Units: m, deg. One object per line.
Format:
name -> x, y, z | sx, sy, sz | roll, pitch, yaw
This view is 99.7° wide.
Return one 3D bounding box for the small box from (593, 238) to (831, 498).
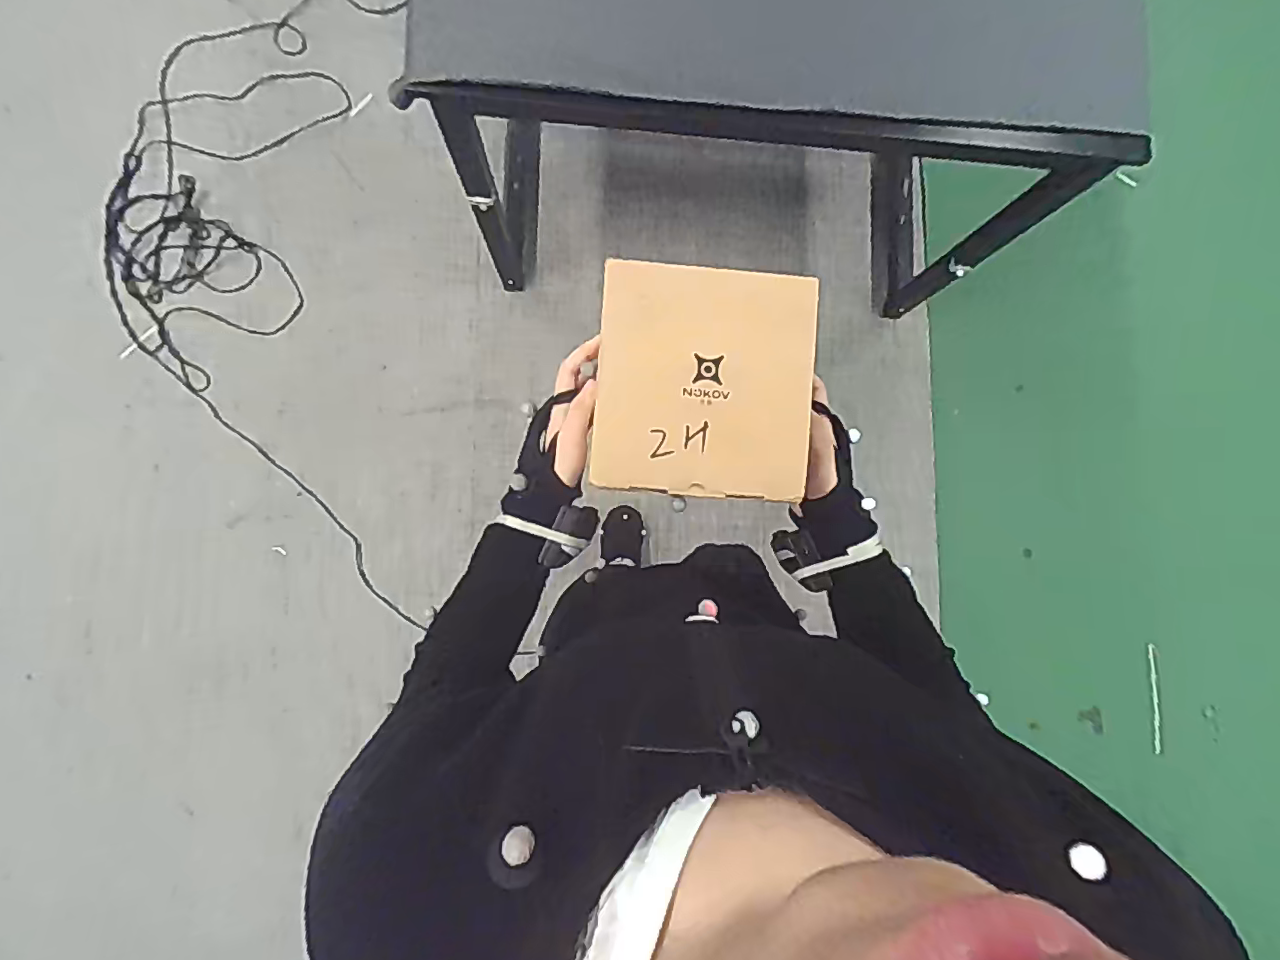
small box -> 0.050, -0.079, 0.474 | 0.168, 0.176, 0.179 | 5, 87, -2
